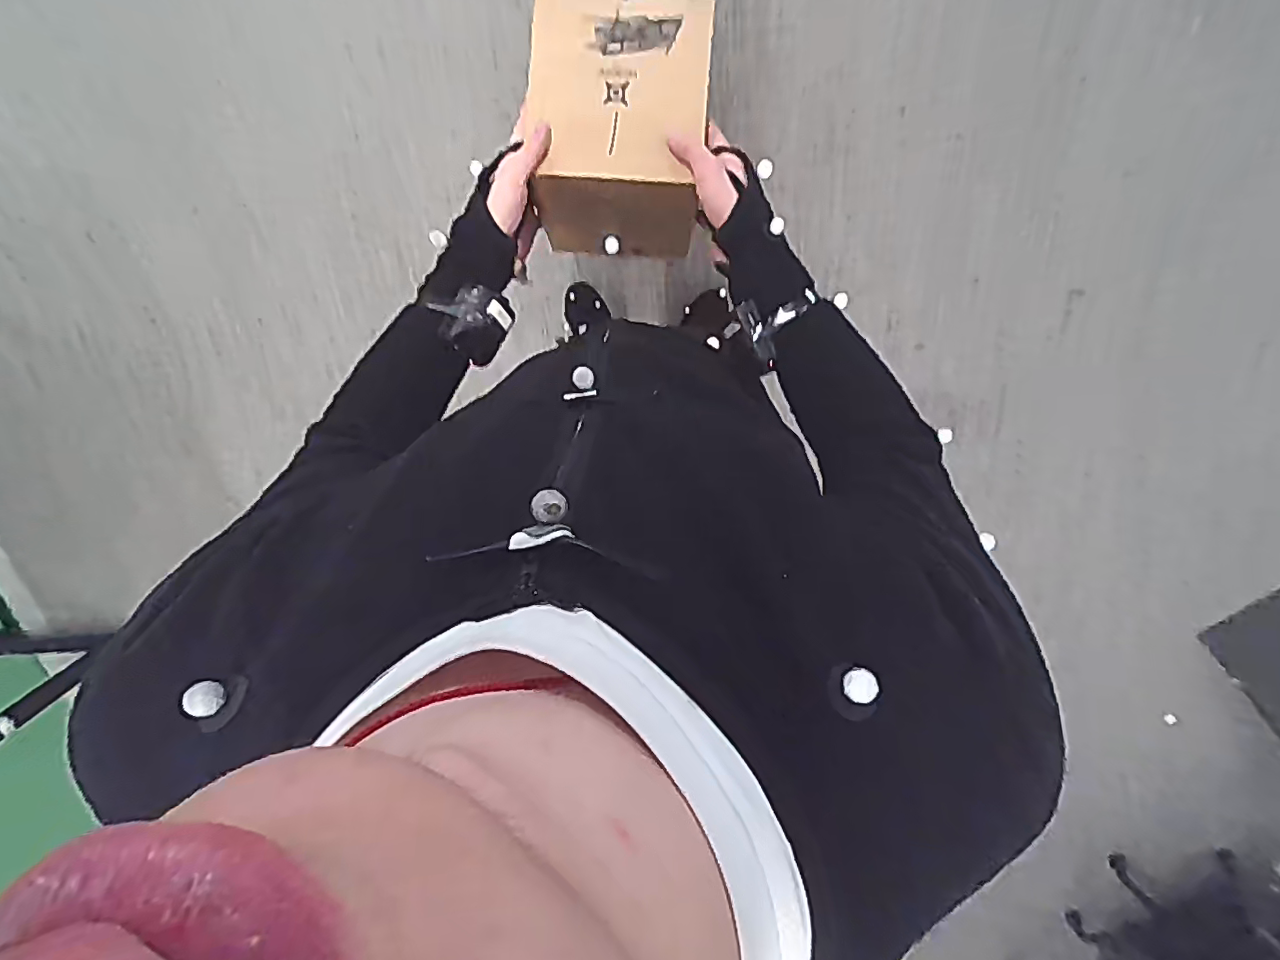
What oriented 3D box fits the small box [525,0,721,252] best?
[{"bbox_3d":[-0.015,-0.365,0.566,0.168,0.176,0.179,5,90,1],"label":"small box"}]
